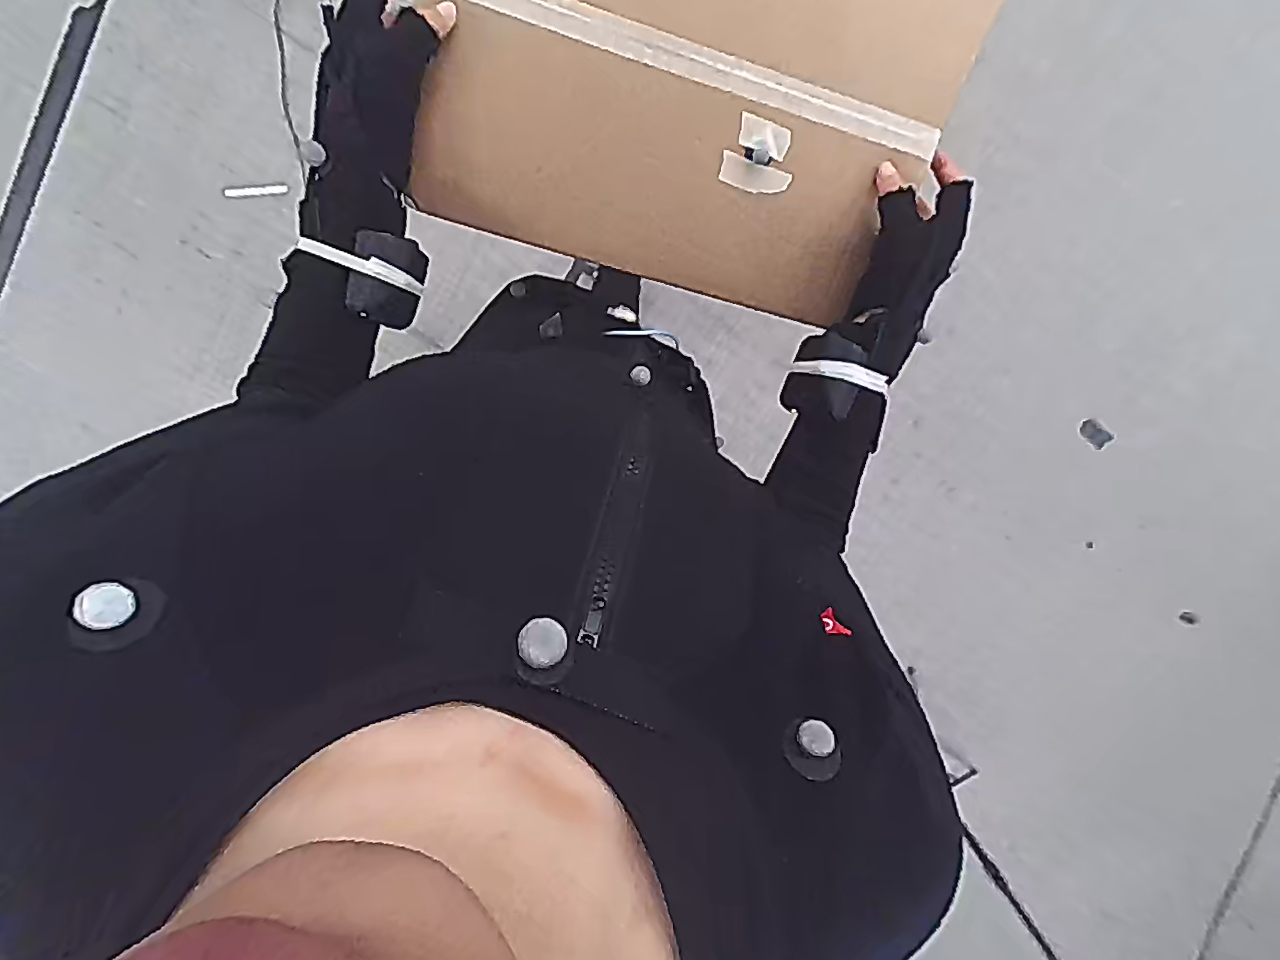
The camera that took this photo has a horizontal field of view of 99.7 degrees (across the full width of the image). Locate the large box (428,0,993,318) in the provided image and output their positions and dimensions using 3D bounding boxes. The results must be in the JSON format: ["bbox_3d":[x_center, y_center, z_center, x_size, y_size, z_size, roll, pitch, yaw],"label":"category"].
[{"bbox_3d":[0.041,-0.396,0.547,0.408,0.320,0.320,13,119,-10],"label":"large box"}]
